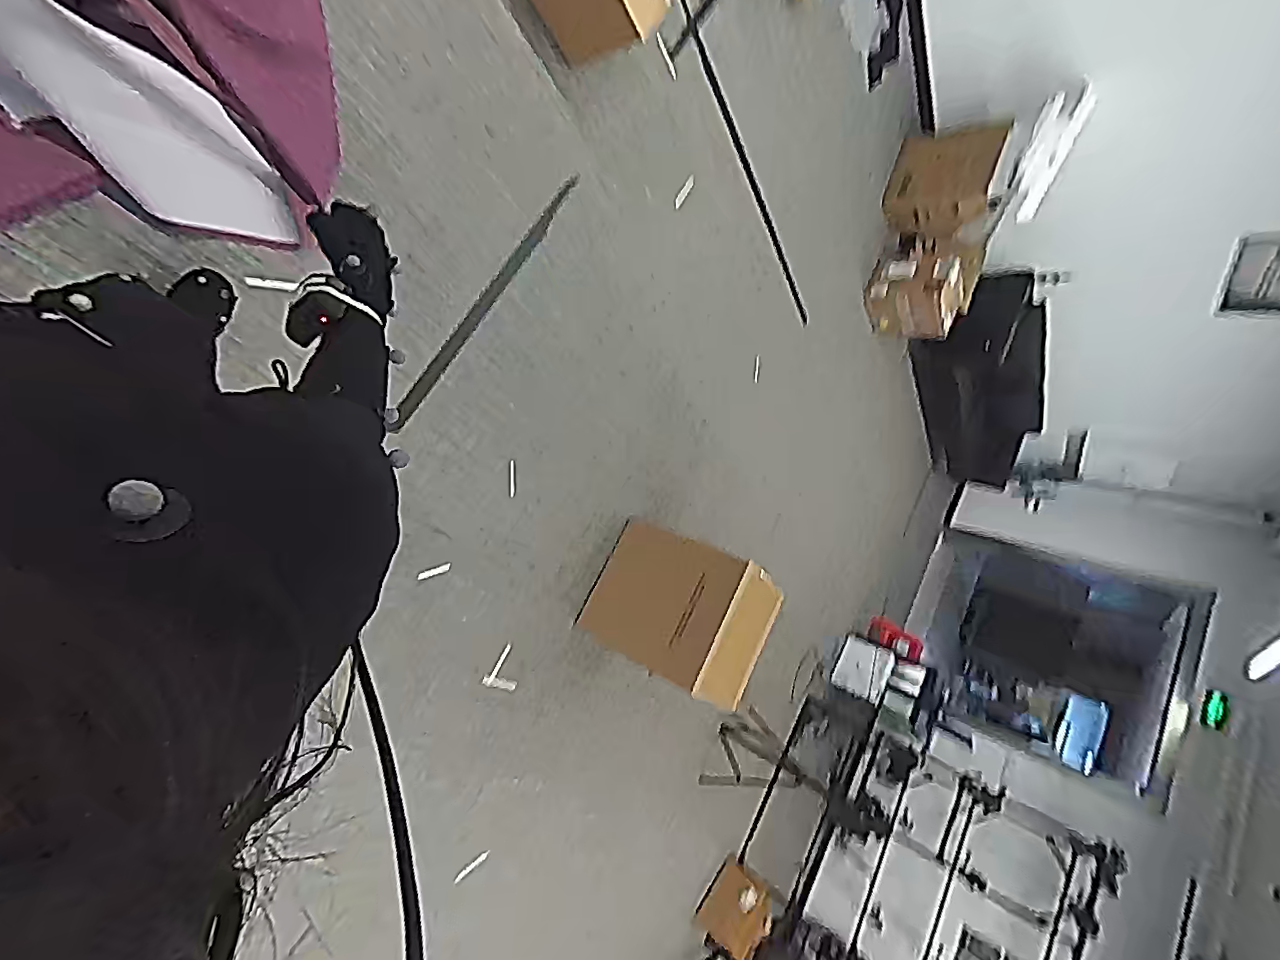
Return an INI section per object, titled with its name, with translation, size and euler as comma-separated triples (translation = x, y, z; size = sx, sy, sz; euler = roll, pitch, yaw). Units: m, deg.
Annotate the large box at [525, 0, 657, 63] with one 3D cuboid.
[large box]
translation = -0.163, -1.484, 1.483
size = 0.408, 0.320, 0.320
euler = 41, 72, -49
